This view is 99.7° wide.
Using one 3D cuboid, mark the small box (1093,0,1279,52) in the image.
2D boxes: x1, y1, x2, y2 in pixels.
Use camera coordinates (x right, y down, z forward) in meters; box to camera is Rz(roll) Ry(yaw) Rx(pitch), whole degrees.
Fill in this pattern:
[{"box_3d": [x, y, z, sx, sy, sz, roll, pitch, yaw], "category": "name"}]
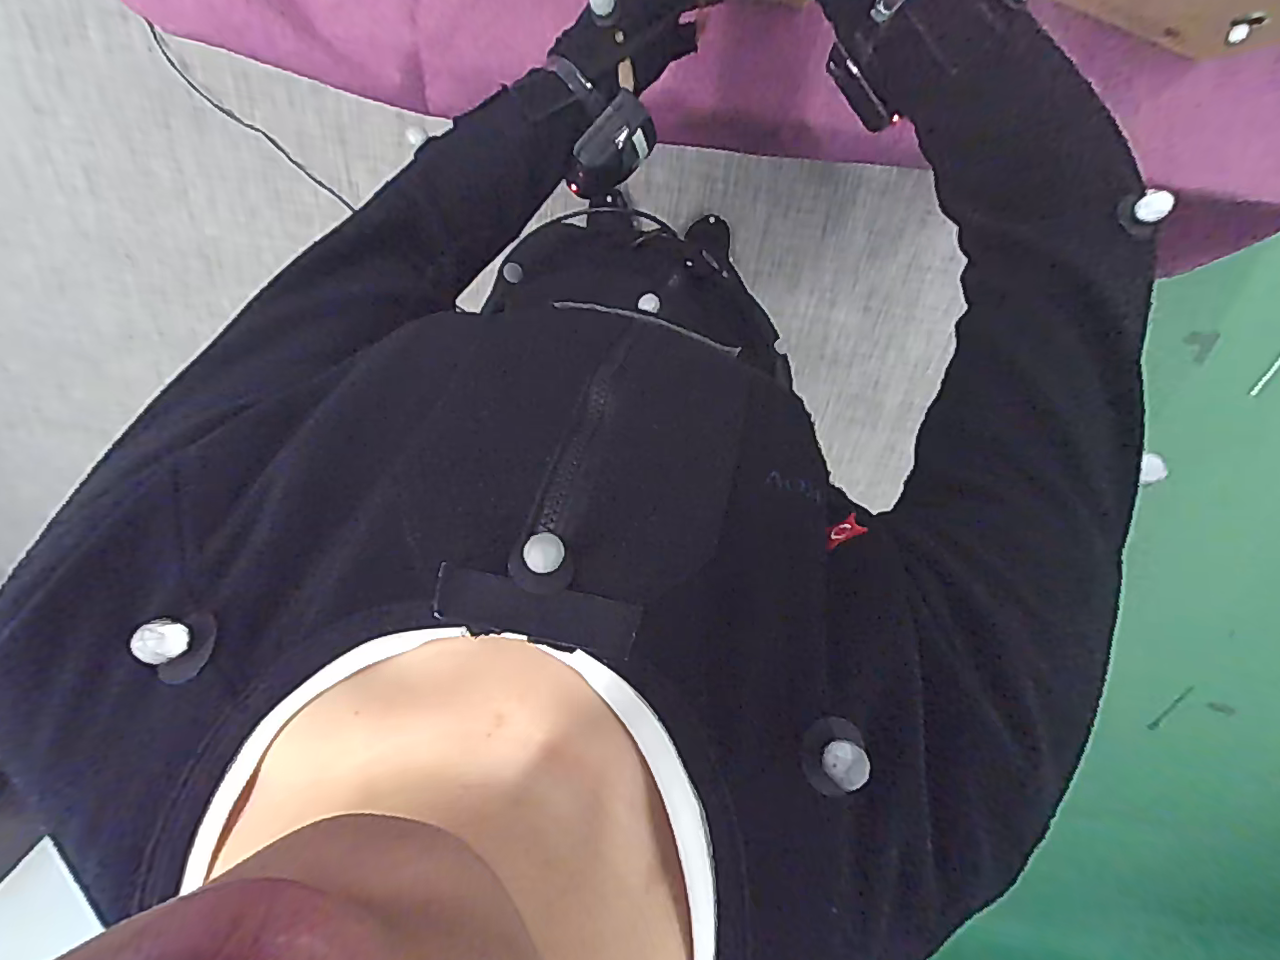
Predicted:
[{"box_3d": [0.474, -0.450, 0.388, 0.168, 0.176, 0.179, 17, 118, -6], "category": "small box"}]
